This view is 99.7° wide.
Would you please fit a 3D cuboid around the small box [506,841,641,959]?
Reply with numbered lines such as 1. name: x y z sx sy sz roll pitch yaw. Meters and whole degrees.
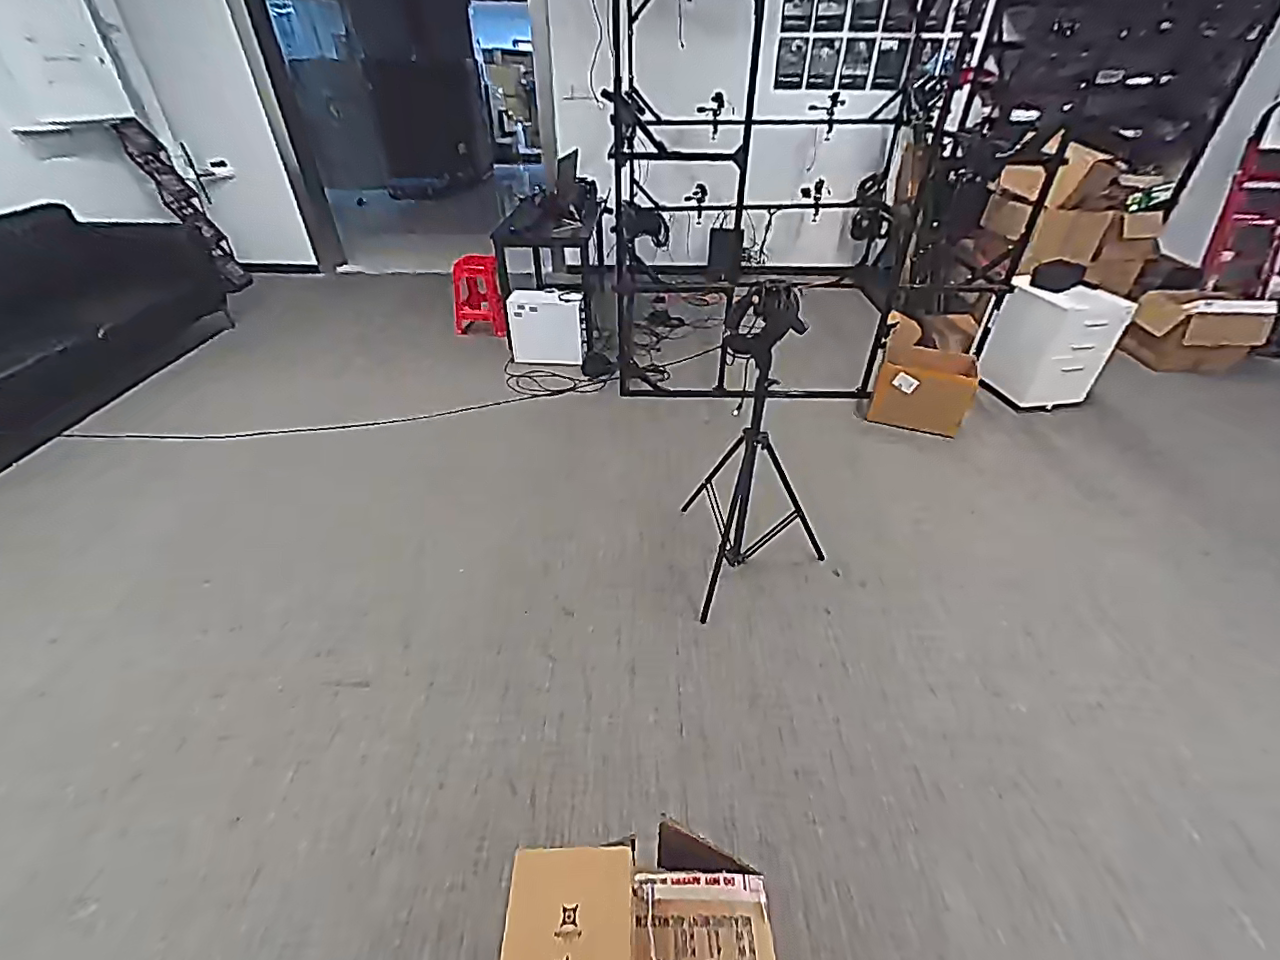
1. small box: -0.085 0.635 0.757 0.168 0.176 0.179 -2 40 1
